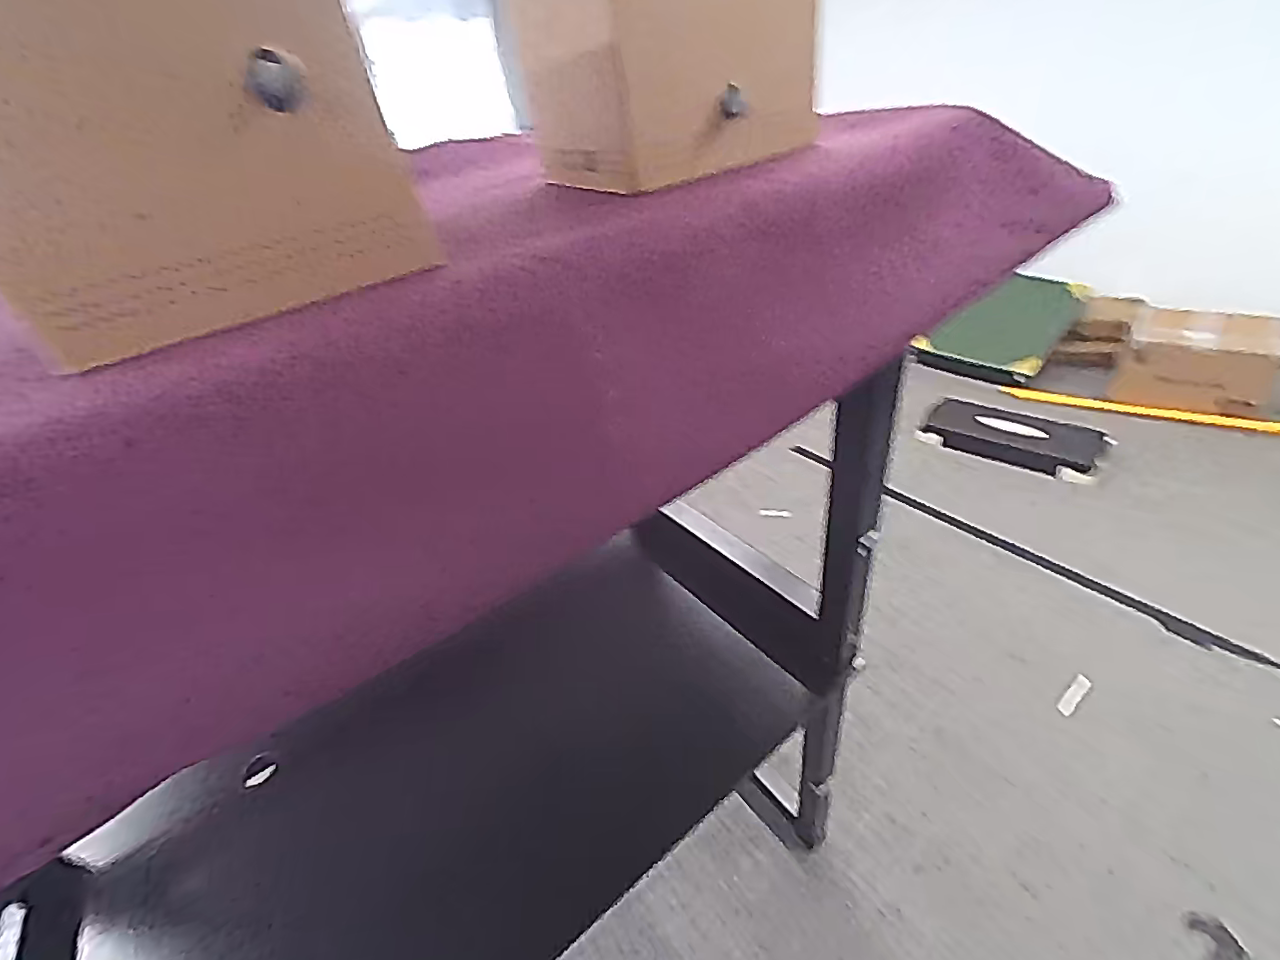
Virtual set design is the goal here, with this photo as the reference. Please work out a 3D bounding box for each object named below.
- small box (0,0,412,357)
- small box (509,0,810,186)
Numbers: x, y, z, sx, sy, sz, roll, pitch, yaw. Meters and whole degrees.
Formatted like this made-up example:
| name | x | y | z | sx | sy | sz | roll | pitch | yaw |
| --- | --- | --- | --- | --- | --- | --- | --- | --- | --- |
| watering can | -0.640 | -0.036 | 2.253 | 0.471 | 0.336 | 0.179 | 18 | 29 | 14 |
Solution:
| name | x | y | z | sx | sy | sz | roll | pitch | yaw |
| --- | --- | --- | --- | --- | --- | --- | --- | --- | --- |
| small box | -0.238 | -0.185 | 0.273 | 0.179 | 0.176 | 0.168 | -29 | 40 | -22 |
| small box | 0.011 | -0.338 | 0.410 | 0.179 | 0.176 | 0.168 | -27 | 39 | -21 |
